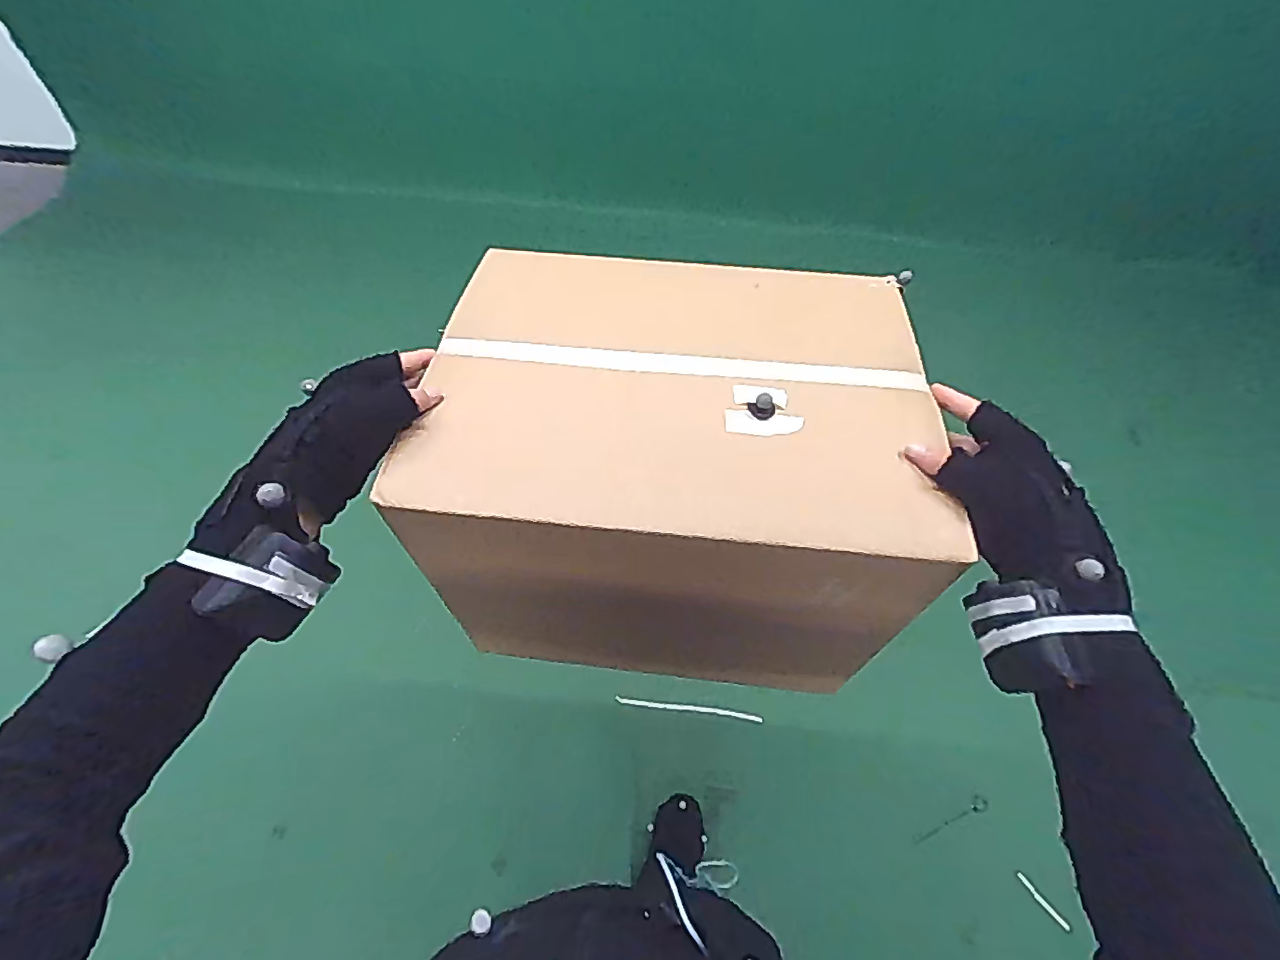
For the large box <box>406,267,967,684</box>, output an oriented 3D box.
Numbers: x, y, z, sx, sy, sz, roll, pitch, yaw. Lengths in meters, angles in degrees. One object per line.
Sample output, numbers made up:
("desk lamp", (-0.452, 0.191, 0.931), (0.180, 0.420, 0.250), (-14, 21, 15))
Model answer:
("large box", (0.037, 0.005, 0.583), (0.408, 0.320, 0.320), (6, 54, 2))
